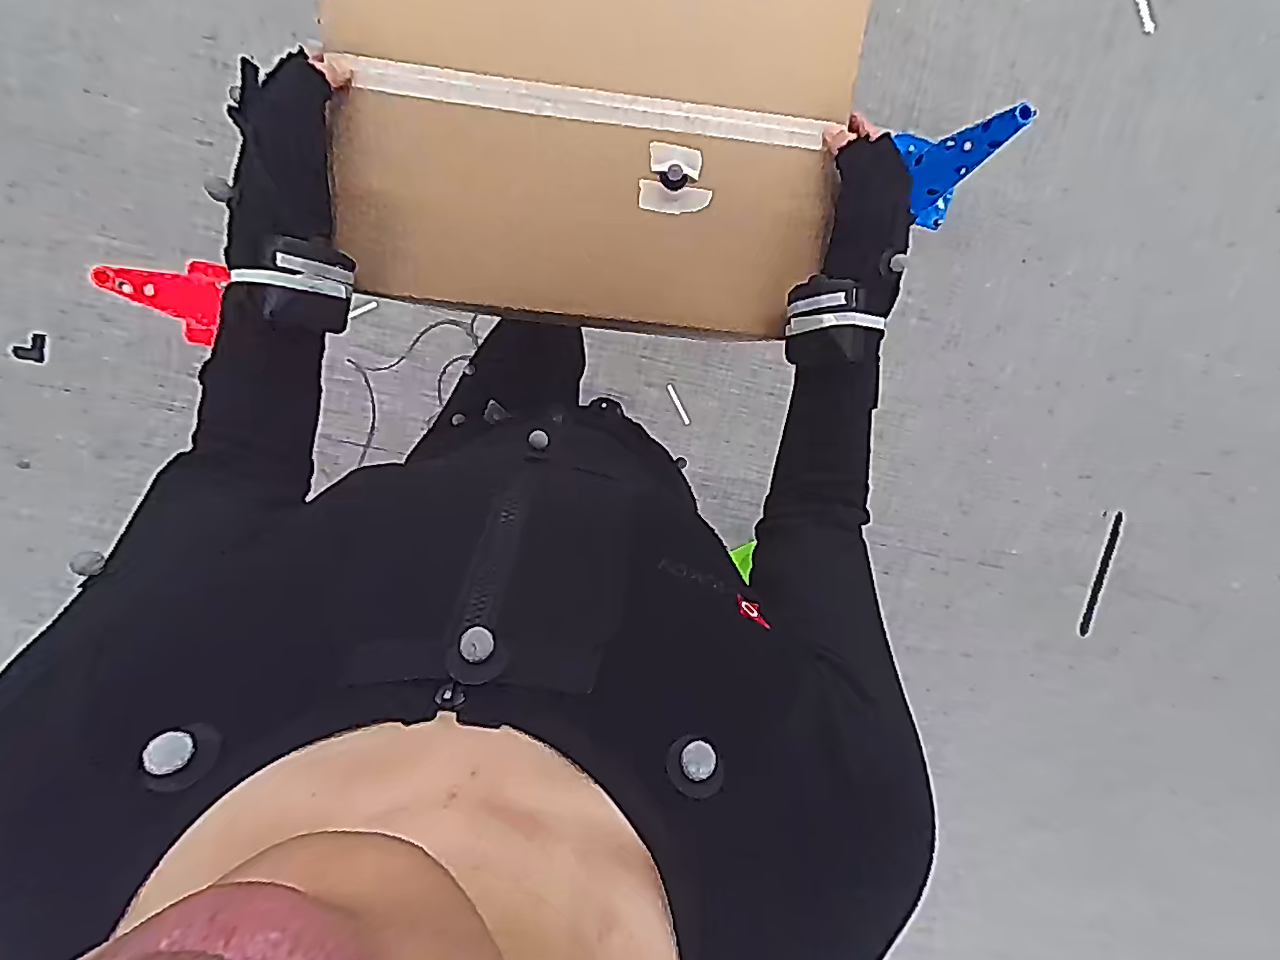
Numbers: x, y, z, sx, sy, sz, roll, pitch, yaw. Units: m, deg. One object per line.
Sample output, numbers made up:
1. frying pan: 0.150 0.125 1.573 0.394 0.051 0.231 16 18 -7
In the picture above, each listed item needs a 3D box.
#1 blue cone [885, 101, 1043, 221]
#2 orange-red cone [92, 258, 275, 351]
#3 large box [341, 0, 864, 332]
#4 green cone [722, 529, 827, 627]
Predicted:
1. blue cone: 0.761 -0.770 1.261 0.192 0.380 0.193 15 98 -8
2. orange-red cone: -0.985 -0.397 1.152 0.198 0.360 0.199 9 99 -5
3. large box: -0.041 -0.336 0.571 0.408 0.320 0.320 5 104 -6
4. green cone: 0.374 0.287 1.376 0.202 0.368 0.200 -26 101 -2
